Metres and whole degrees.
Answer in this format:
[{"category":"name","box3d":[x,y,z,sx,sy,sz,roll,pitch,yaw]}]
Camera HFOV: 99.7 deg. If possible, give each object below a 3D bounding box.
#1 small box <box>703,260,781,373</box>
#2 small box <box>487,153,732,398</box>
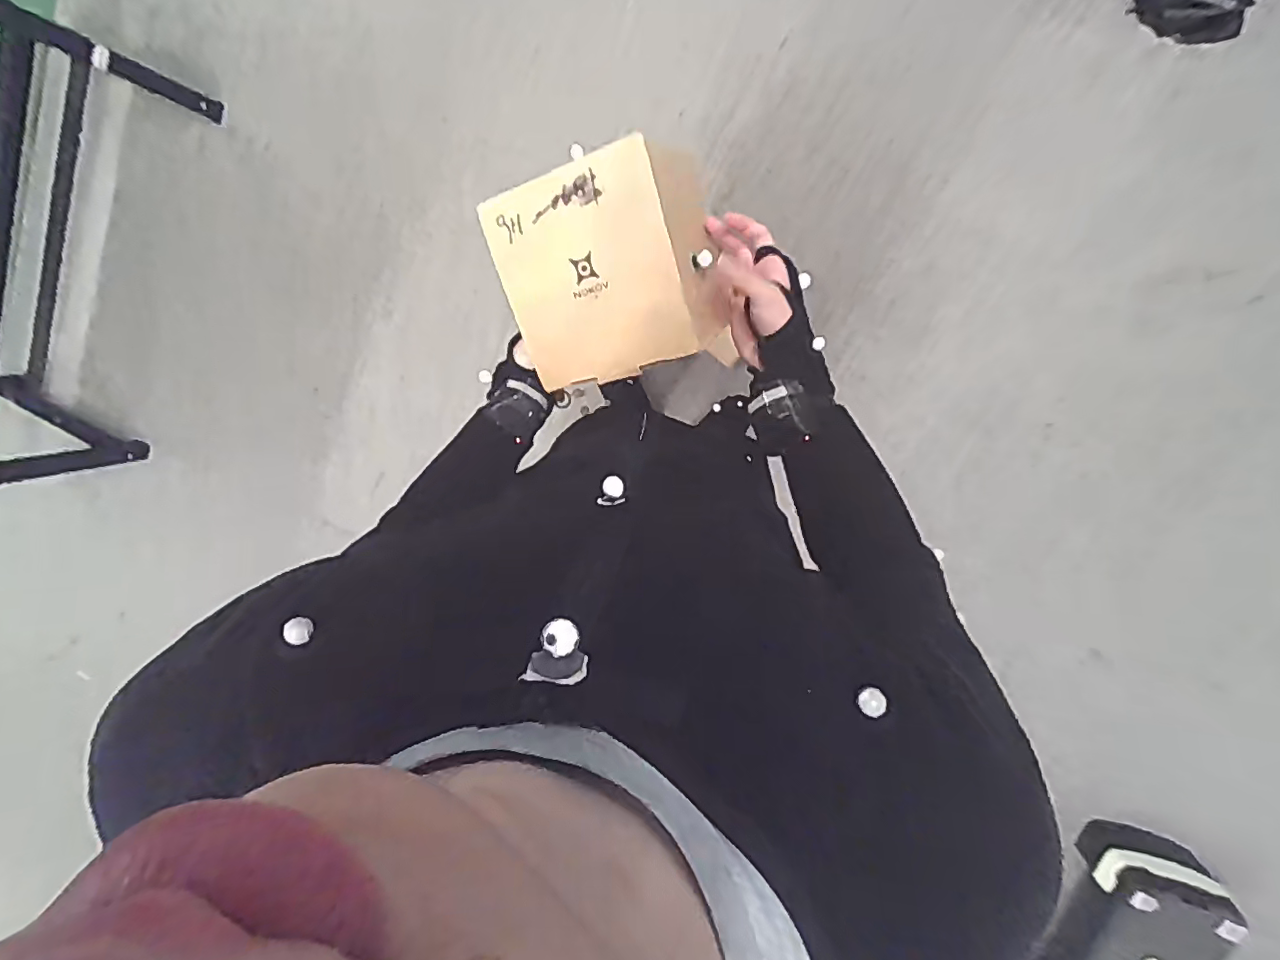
[{"category":"small box","box3d":[0.195,-0.362,1.230,0.168,0.176,0.179,41,106,1]},{"category":"small box","box3d":[-0.014,-0.205,0.548,0.168,0.176,0.179,-9,113,24]}]
